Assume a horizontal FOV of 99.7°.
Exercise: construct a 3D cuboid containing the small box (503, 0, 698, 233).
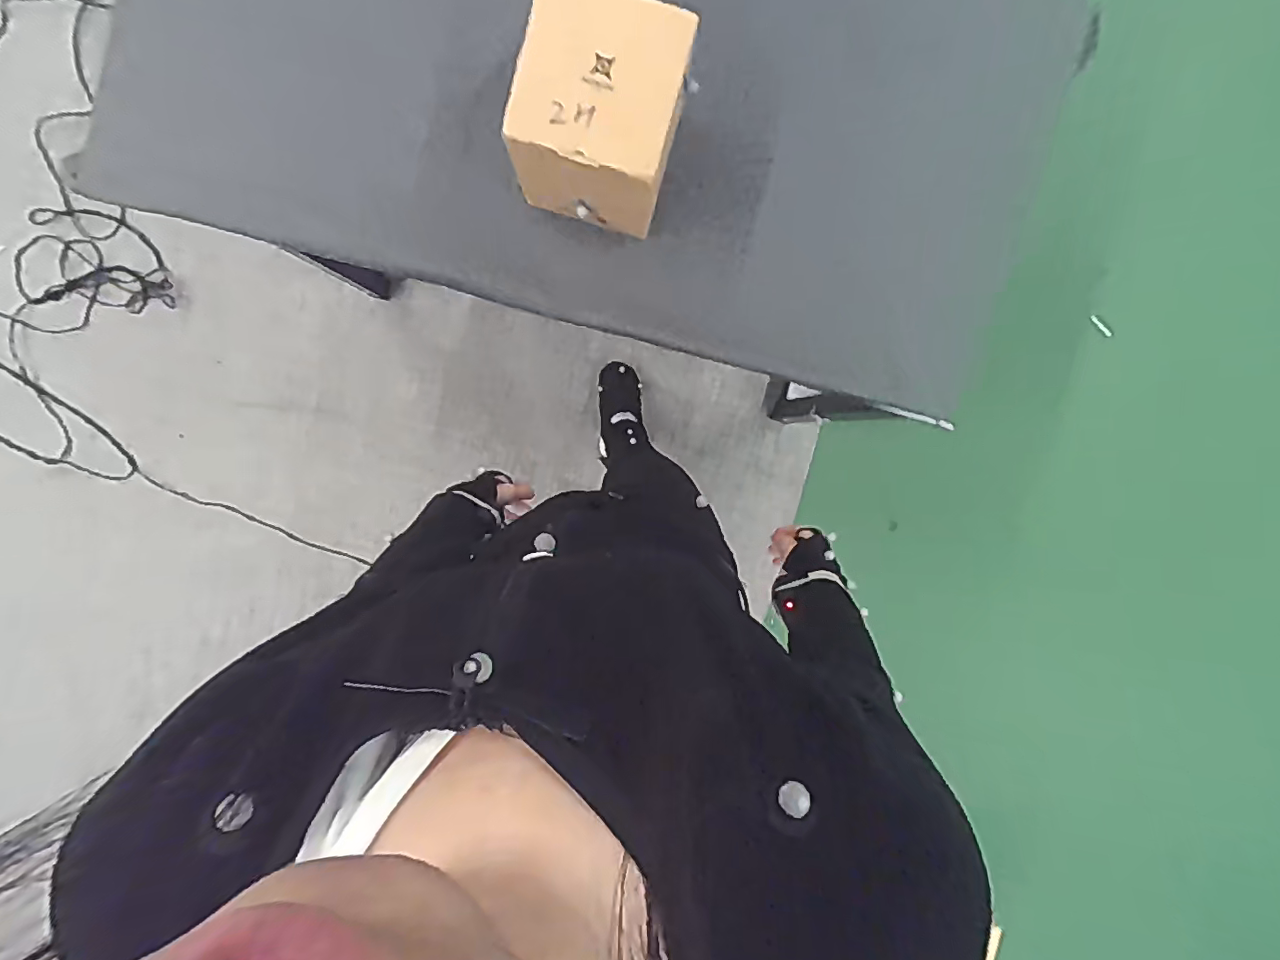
[{"bbox_3d":[-0.045,-0.424,0.630,0.168,0.176,0.179,15,94,-4],"label":"small box"}]
